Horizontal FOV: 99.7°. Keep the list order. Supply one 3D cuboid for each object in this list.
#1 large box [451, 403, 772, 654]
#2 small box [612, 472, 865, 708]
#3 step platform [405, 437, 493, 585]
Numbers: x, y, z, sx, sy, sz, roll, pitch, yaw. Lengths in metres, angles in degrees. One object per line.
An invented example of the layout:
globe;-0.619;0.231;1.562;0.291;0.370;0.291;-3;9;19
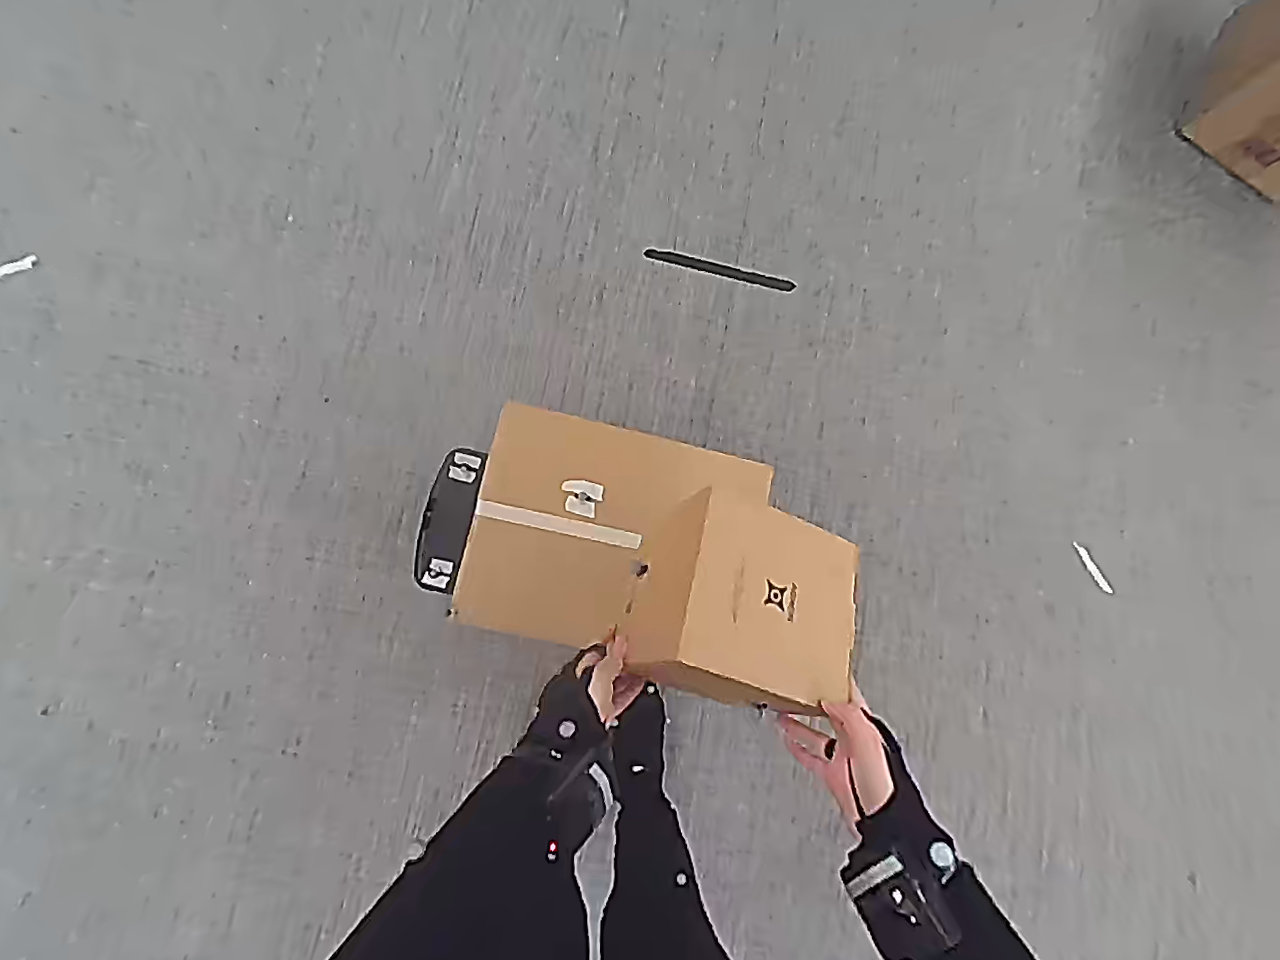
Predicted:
large box;-0.044;0.097;0.895;0.408;0.320;0.320;13;81;-5
small box;0.095;0.119;0.550;0.179;0.176;0.168;24;63;-15
step platform;-0.110;0.144;1.123;0.684;0.204;0.286;18;81;-5
